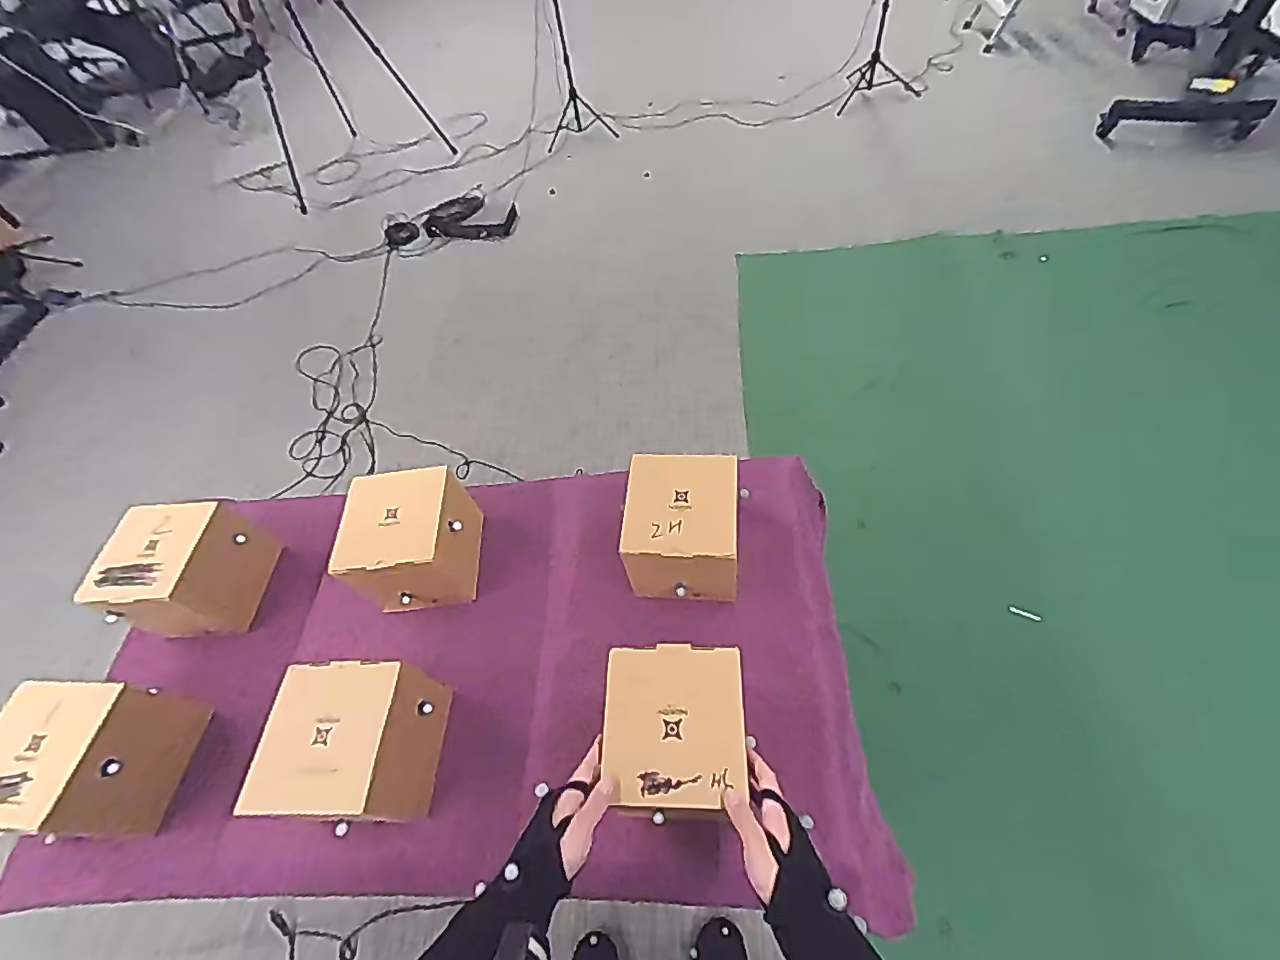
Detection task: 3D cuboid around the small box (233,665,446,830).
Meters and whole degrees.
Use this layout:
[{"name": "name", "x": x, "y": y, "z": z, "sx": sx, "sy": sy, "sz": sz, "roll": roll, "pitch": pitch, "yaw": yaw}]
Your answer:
[{"name": "small box", "x": -0.384, "y": 0.364, "z": 0.733, "sx": 0.168, "sy": 0.176, "sz": 0.179, "roll": -3, "pitch": 55, "yaw": 7}]

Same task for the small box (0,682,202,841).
[{"name": "small box", "x": -0.781, "y": 0.398, "z": 0.760, "sx": 0.168, "sy": 0.176, "sz": 0.179, "roll": -1, "pitch": 54, "yaw": 7}]

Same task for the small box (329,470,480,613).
[{"name": "small box", "x": -0.379, "y": 0.106, "z": 0.909, "sx": 0.168, "sy": 0.176, "sz": 0.179, "roll": -7, "pitch": 57, "yaw": 3}]

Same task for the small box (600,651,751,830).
[{"name": "small box", "x": 0.050, "y": 0.334, "z": 0.692, "sx": 0.168, "sy": 0.176, "sz": 0.179, "roll": -2, "pitch": 54, "yaw": 8}]

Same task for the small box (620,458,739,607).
[{"name": "small box", "x": 0.070, "y": 0.084, "z": 0.860, "sx": 0.168, "sy": 0.176, "sz": 0.179, "roll": 1, "pitch": 57, "yaw": 10}]
